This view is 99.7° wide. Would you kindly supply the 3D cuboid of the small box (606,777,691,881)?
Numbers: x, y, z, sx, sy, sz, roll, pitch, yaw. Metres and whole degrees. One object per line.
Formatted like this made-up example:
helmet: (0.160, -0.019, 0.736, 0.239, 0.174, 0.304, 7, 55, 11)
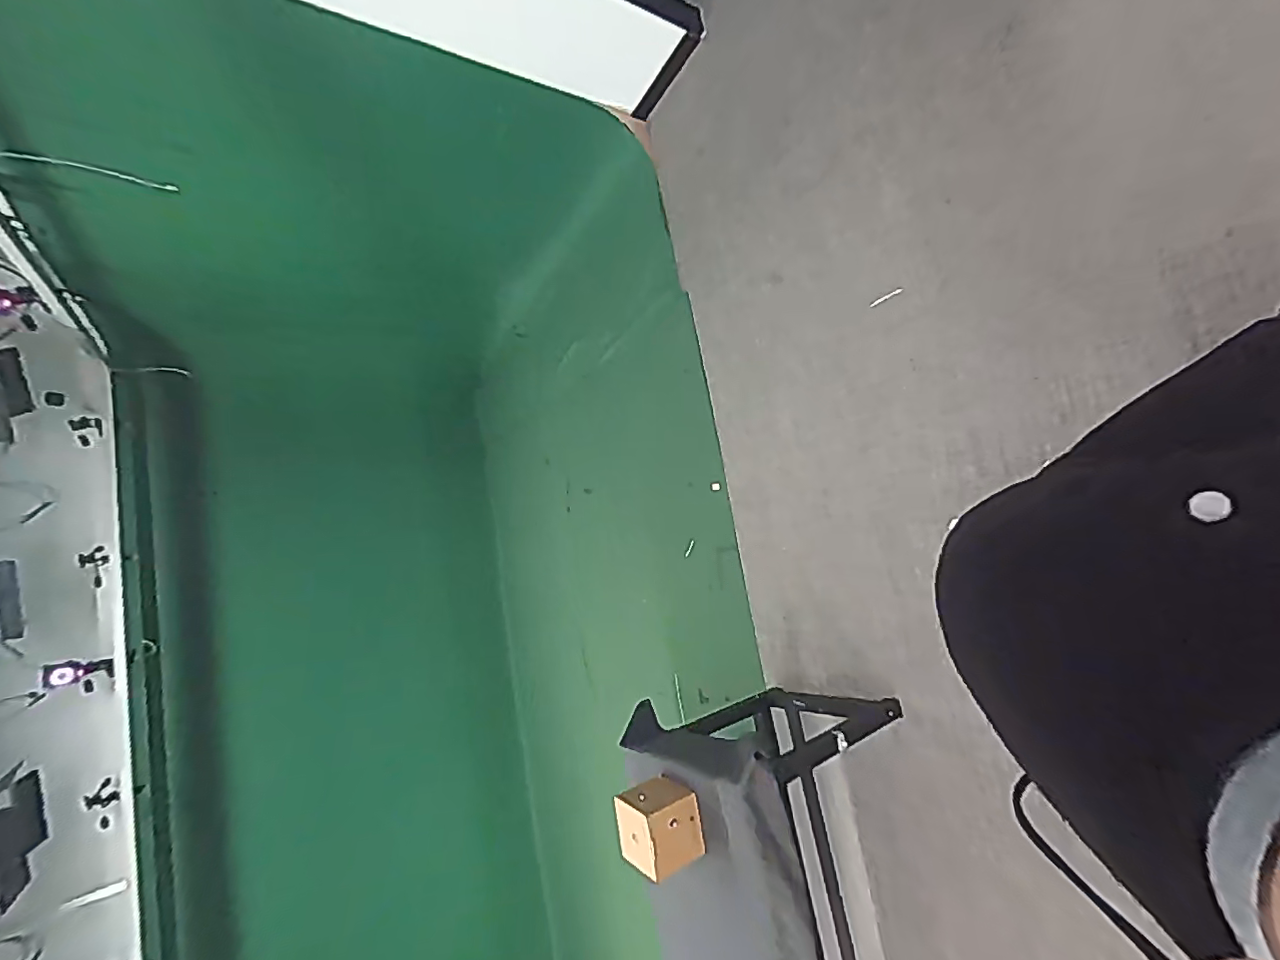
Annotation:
small box: (0.029, 0.958, 1.506, 0.179, 0.176, 0.168, -18, 78, 56)
